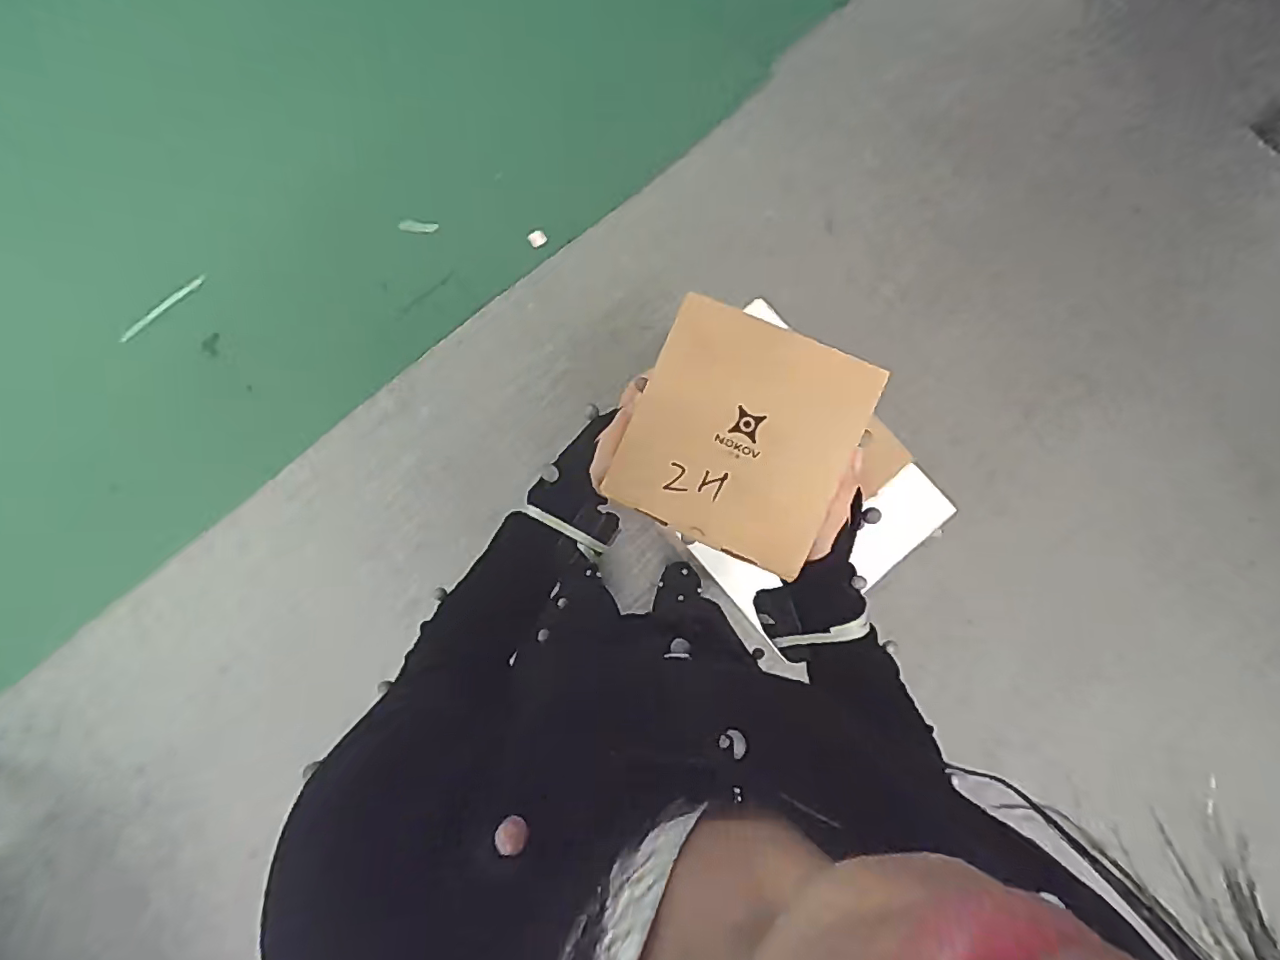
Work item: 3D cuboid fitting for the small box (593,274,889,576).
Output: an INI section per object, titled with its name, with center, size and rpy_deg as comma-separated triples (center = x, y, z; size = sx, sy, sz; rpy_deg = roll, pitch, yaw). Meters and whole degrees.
[small box]
center = 0.077, -0.039, 0.471
size = 0.168, 0.176, 0.179
rpy_deg = 24, 90, 6
